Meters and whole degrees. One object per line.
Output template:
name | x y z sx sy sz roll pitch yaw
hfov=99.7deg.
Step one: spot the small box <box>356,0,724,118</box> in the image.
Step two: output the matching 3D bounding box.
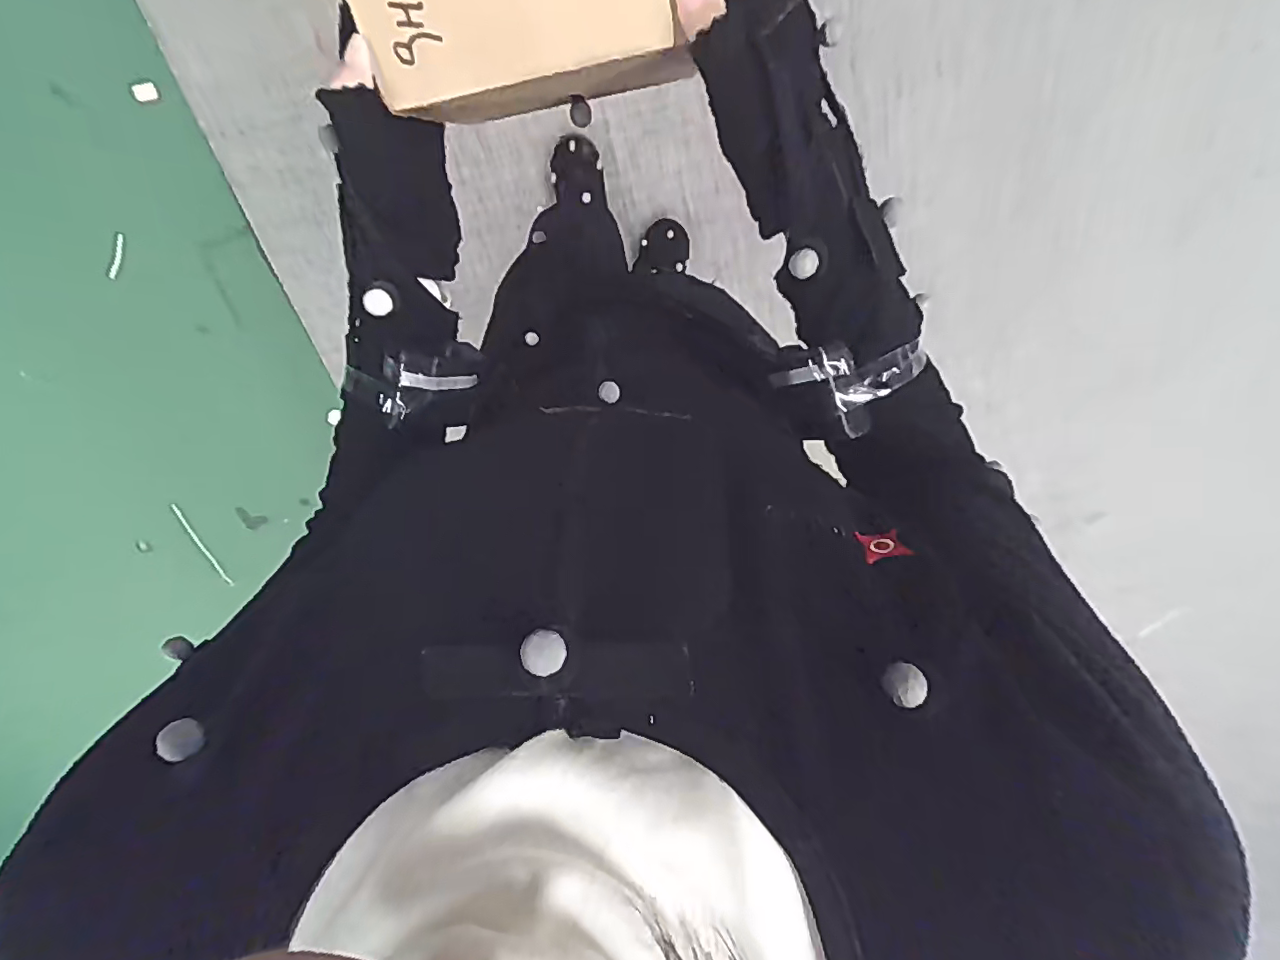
small box | -0.059 -0.316 0.299 0.179 0.176 0.168 -9 120 4
